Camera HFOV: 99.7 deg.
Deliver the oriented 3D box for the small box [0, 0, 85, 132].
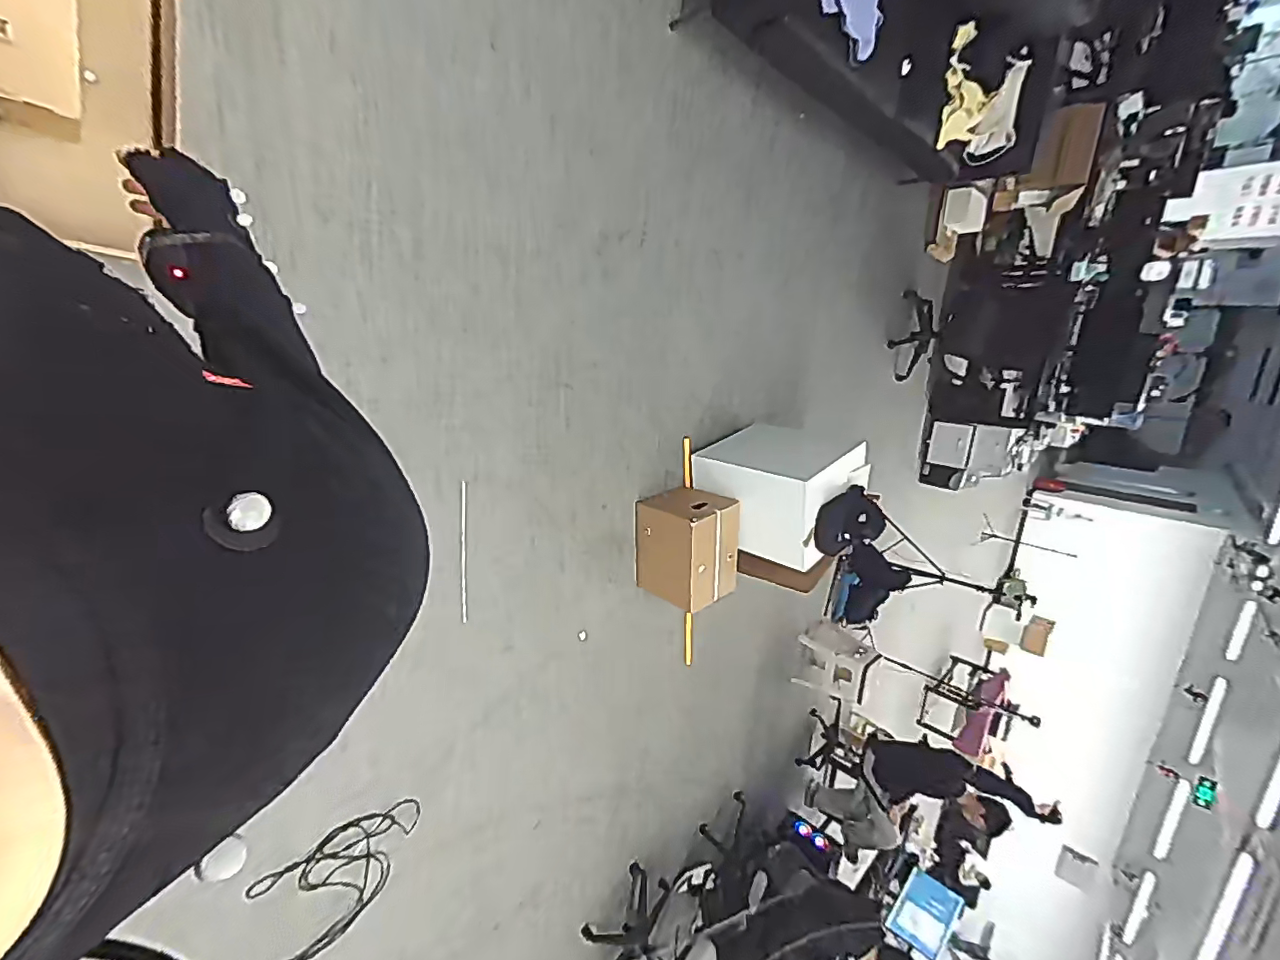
[{"bbox_3d":[-0.957,-0.663,0.809,0.168,0.176,0.179,-3,105,-47],"label":"small box"}]
